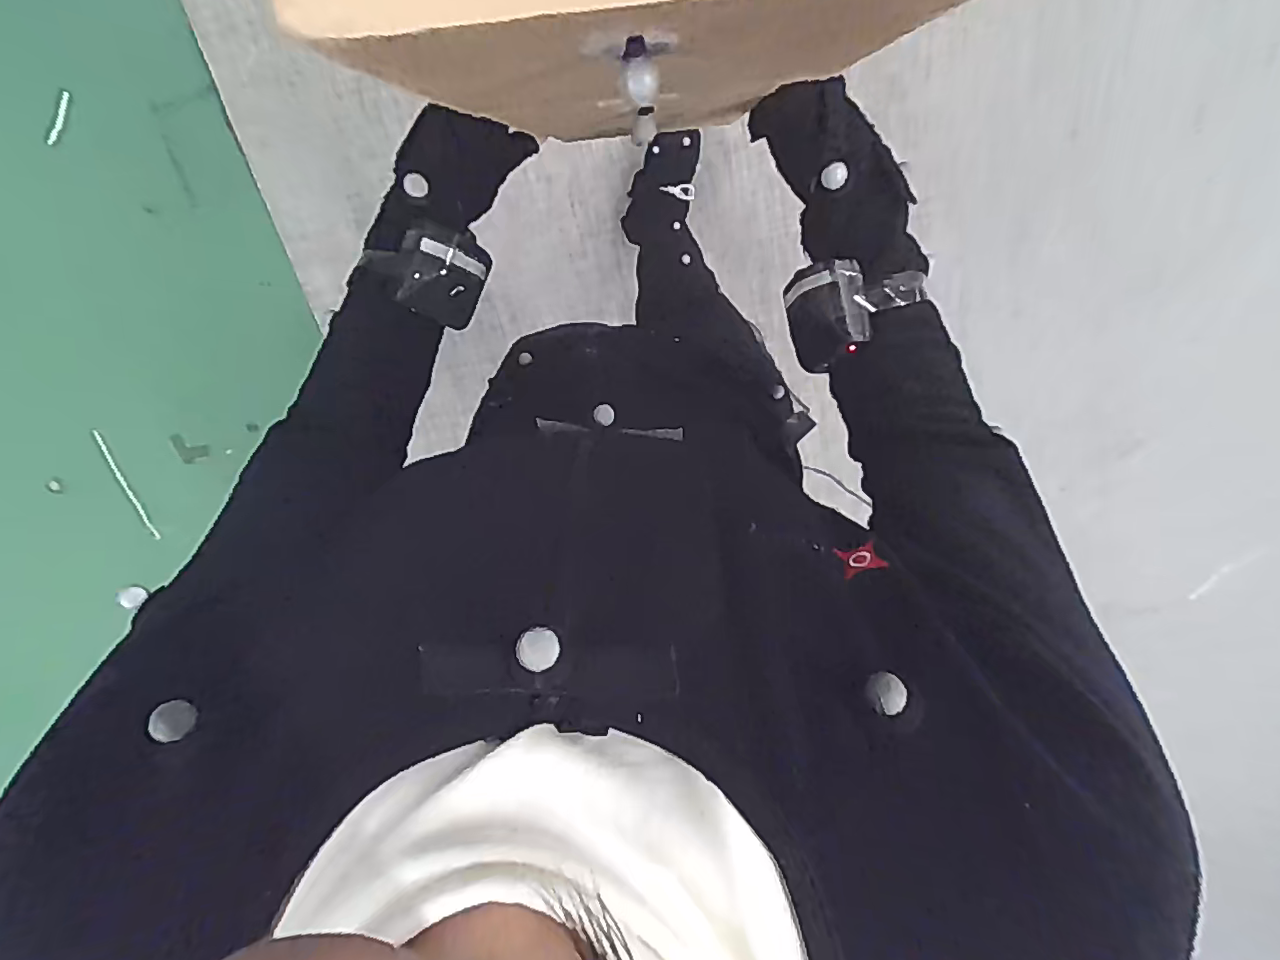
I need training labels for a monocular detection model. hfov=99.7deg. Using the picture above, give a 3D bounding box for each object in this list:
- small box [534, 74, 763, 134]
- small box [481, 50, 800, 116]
[{"bbox_3d":[0.001,-0.394,0.443,0.179,0.176,0.168,-3,118,4],"label":"small box"},{"bbox_3d":[-0.006,-0.317,0.300,0.168,0.176,0.179,-5,119,4],"label":"small box"}]
